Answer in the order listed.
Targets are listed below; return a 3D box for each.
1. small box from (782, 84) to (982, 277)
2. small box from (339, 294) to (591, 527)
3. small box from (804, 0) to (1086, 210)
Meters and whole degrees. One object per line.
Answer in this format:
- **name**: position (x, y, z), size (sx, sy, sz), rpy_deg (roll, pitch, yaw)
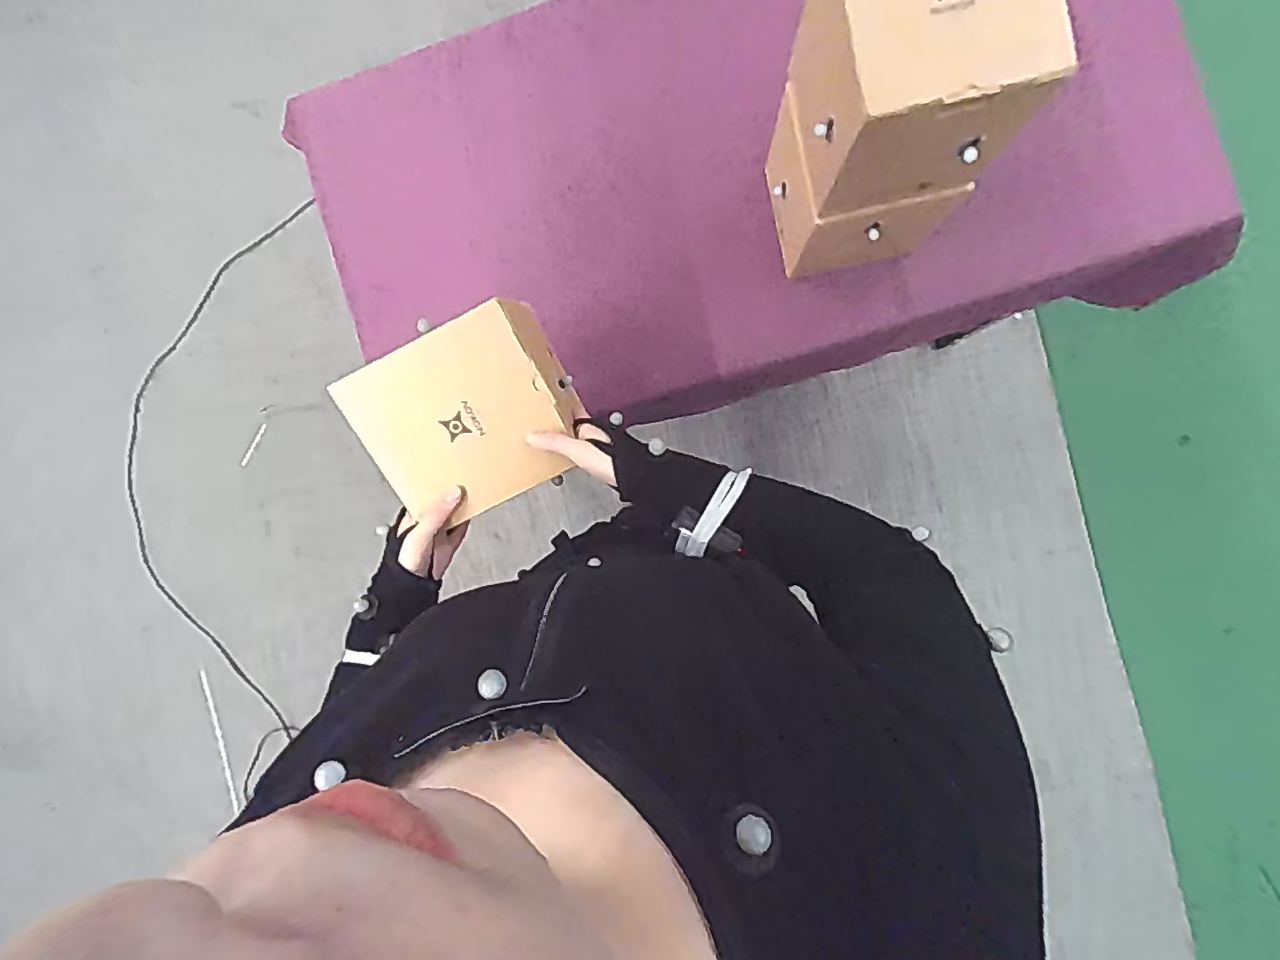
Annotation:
- **small box**: position (0.279, -0.371, 0.669), size (0.179, 0.176, 0.168), rpy_deg (-9, 90, 6)
- **small box**: position (-0.165, -0.078, 0.577), size (0.179, 0.176, 0.168), rpy_deg (-25, 105, 5)
- **small box**: position (0.262, -0.380, 0.507), size (0.168, 0.176, 0.179), rpy_deg (-9, 88, 5)
